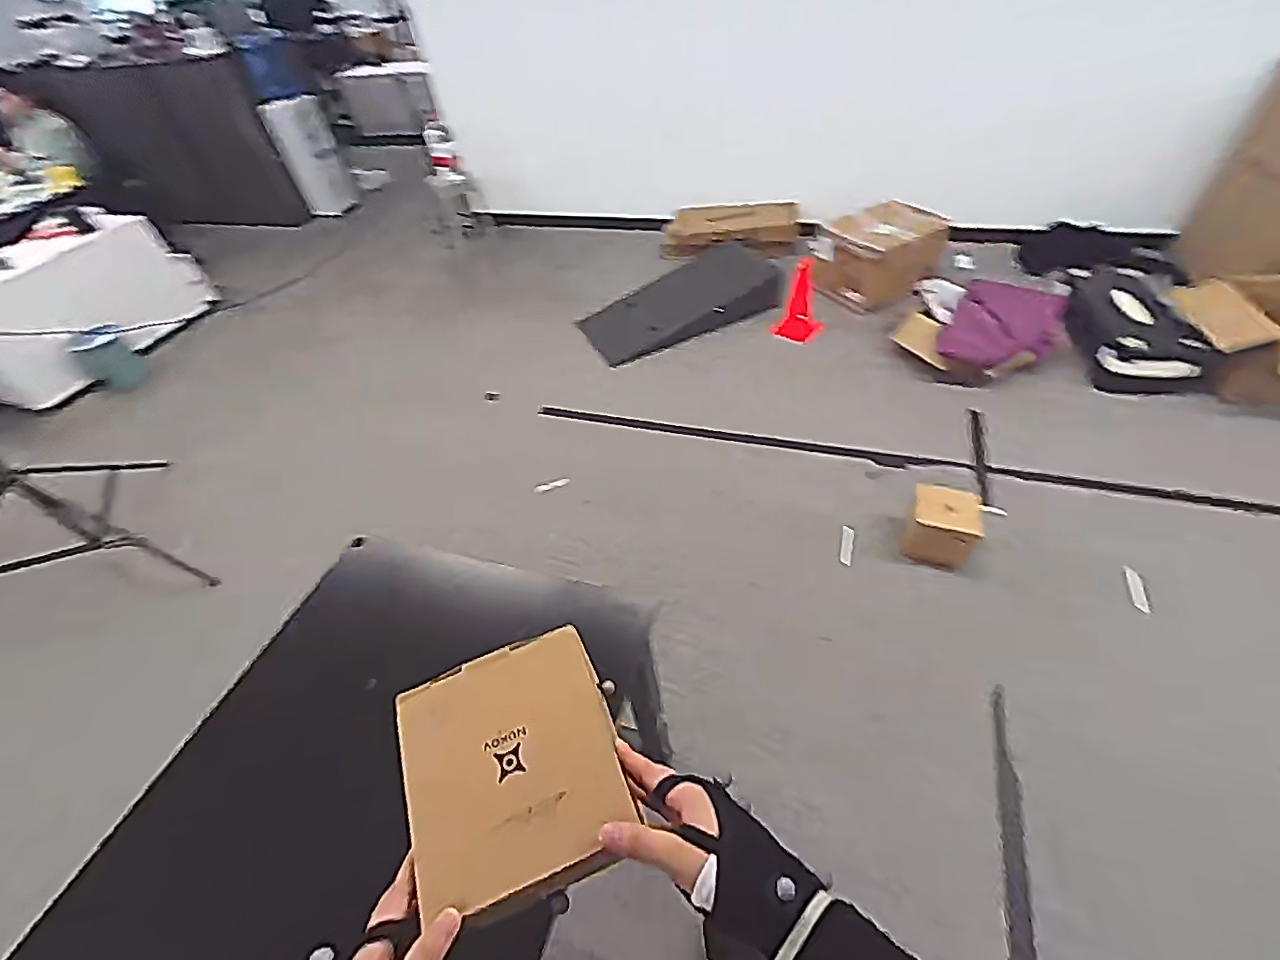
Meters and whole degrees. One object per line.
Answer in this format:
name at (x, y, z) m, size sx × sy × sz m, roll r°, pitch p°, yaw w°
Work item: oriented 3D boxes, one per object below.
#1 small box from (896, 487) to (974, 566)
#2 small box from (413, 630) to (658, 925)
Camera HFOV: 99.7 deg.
small box at (0.926, 0.151, 1.705) m, size 0.179 × 0.176 × 0.168 m, roll 11°, pitch 49°, yaw 17°
small box at (-0.090, 0.275, 0.505) m, size 0.168 × 0.176 × 0.179 m, roll -20°, pitch 54°, yaw -9°
